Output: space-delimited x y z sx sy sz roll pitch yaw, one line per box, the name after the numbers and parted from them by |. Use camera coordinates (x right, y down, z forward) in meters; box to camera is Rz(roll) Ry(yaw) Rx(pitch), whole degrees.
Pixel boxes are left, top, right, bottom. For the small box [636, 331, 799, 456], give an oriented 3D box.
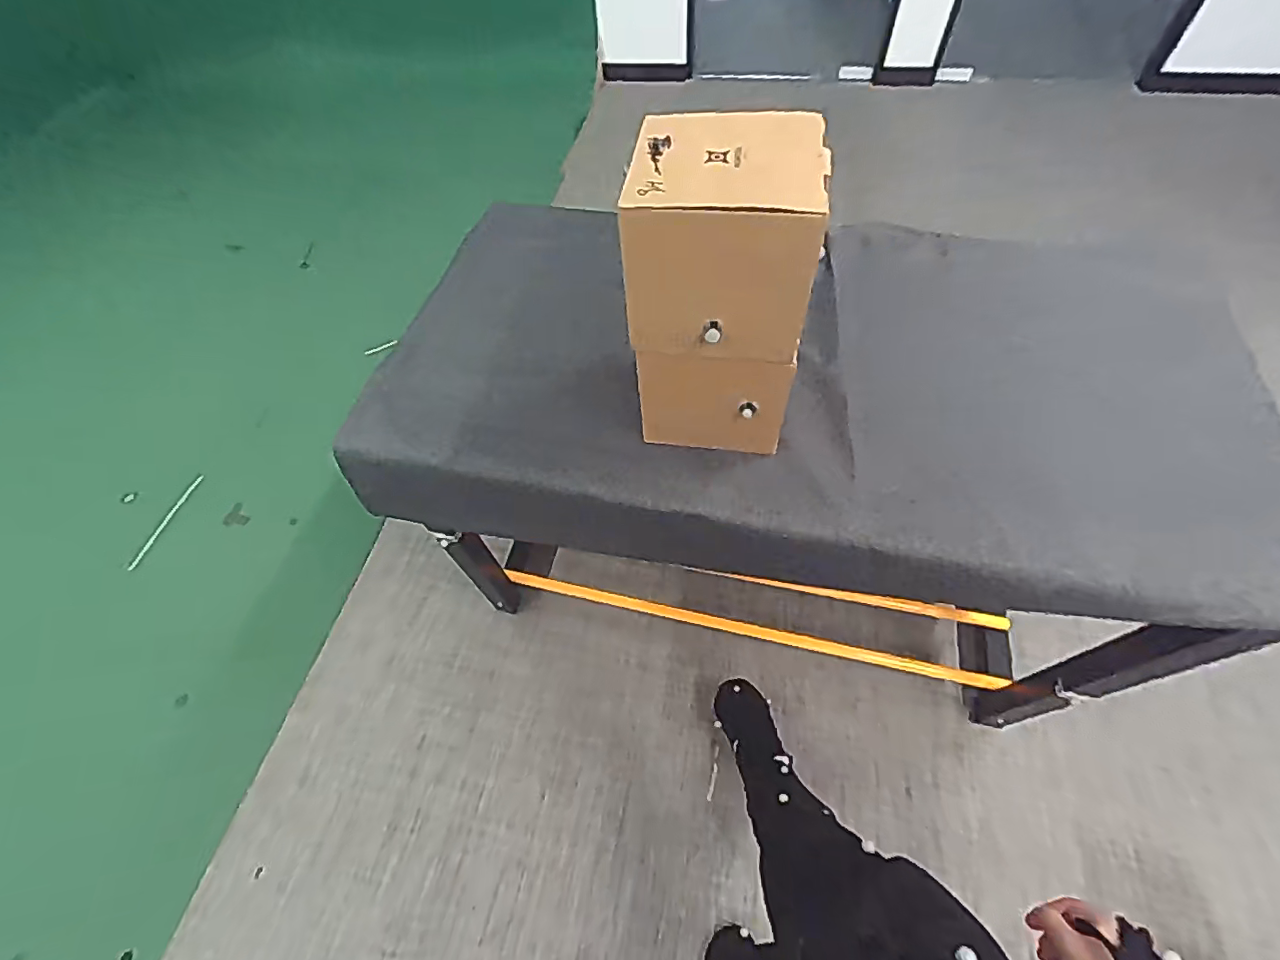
0.099 -0.147 0.691 0.179 0.176 0.168 5 57 9 | small box

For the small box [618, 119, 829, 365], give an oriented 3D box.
0.083 -0.237 0.554 0.179 0.176 0.168 6 57 8 | small box
